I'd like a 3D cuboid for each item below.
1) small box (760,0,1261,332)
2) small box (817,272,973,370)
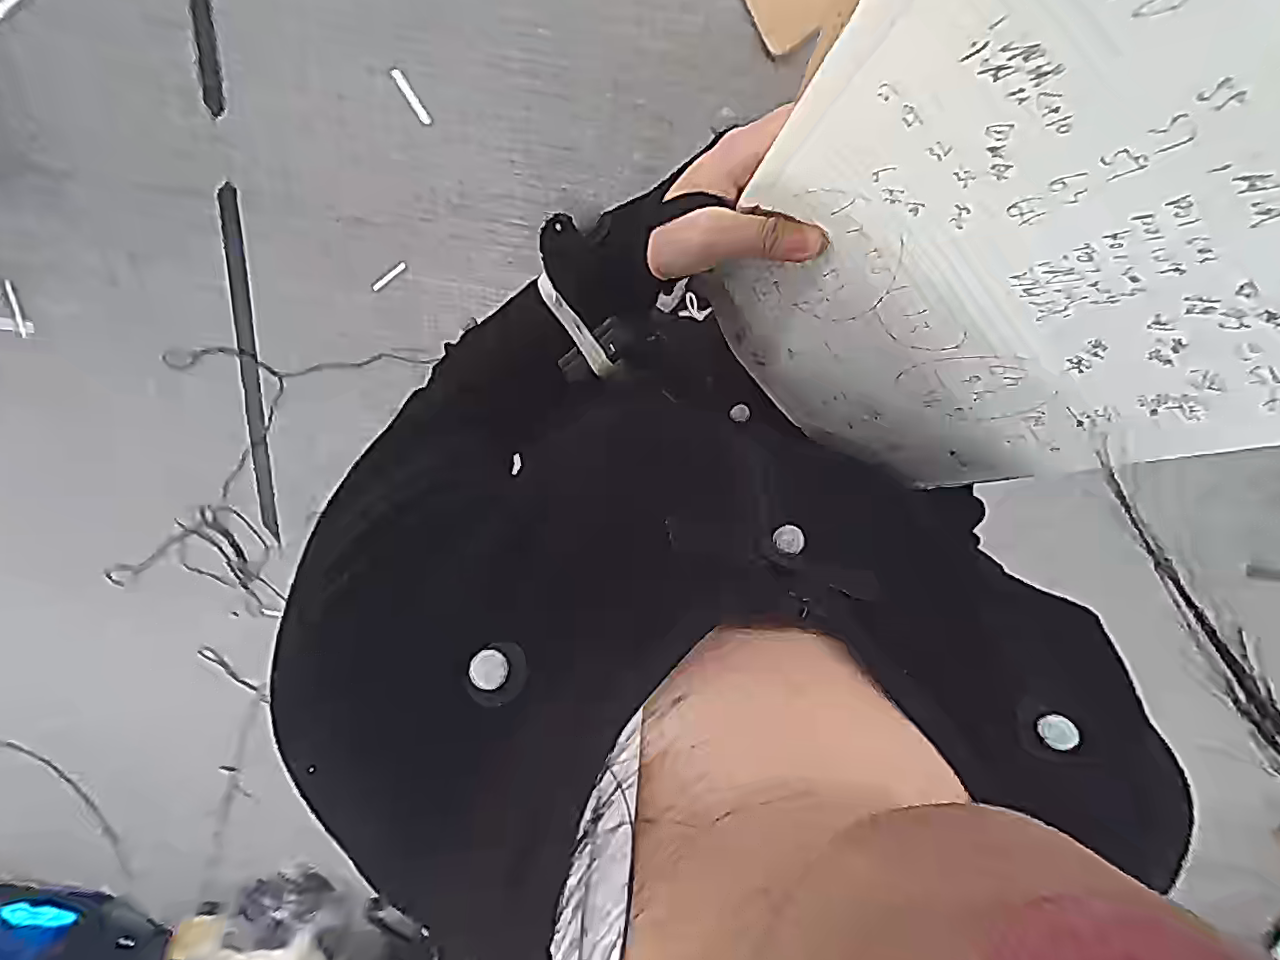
[{"bbox_3d":[0.204,-0.213,0.338,0.168,0.176,0.179,6,112,-31],"label":"small box"},{"bbox_3d":[0.388,-0.286,0.823,0.168,0.176,0.179,12,114,-5],"label":"small box"}]
